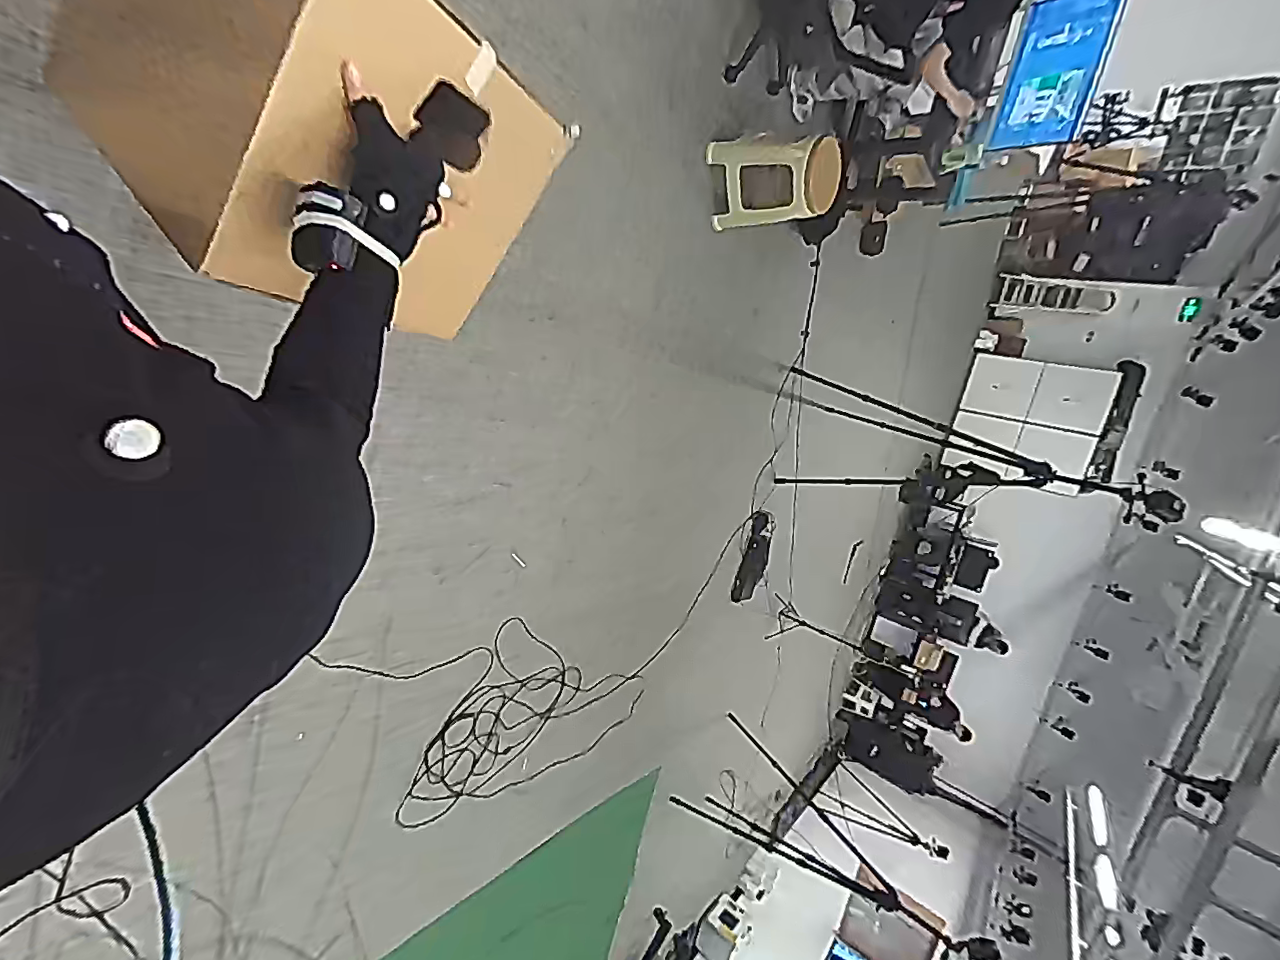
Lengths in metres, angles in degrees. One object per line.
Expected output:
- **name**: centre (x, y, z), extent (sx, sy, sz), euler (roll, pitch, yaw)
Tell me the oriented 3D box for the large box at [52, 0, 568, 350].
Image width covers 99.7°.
- **large box**: centre (-0.376, -0.423, 0.643), extent (0.320, 0.408, 0.320), euler (-50, 162, 17)
